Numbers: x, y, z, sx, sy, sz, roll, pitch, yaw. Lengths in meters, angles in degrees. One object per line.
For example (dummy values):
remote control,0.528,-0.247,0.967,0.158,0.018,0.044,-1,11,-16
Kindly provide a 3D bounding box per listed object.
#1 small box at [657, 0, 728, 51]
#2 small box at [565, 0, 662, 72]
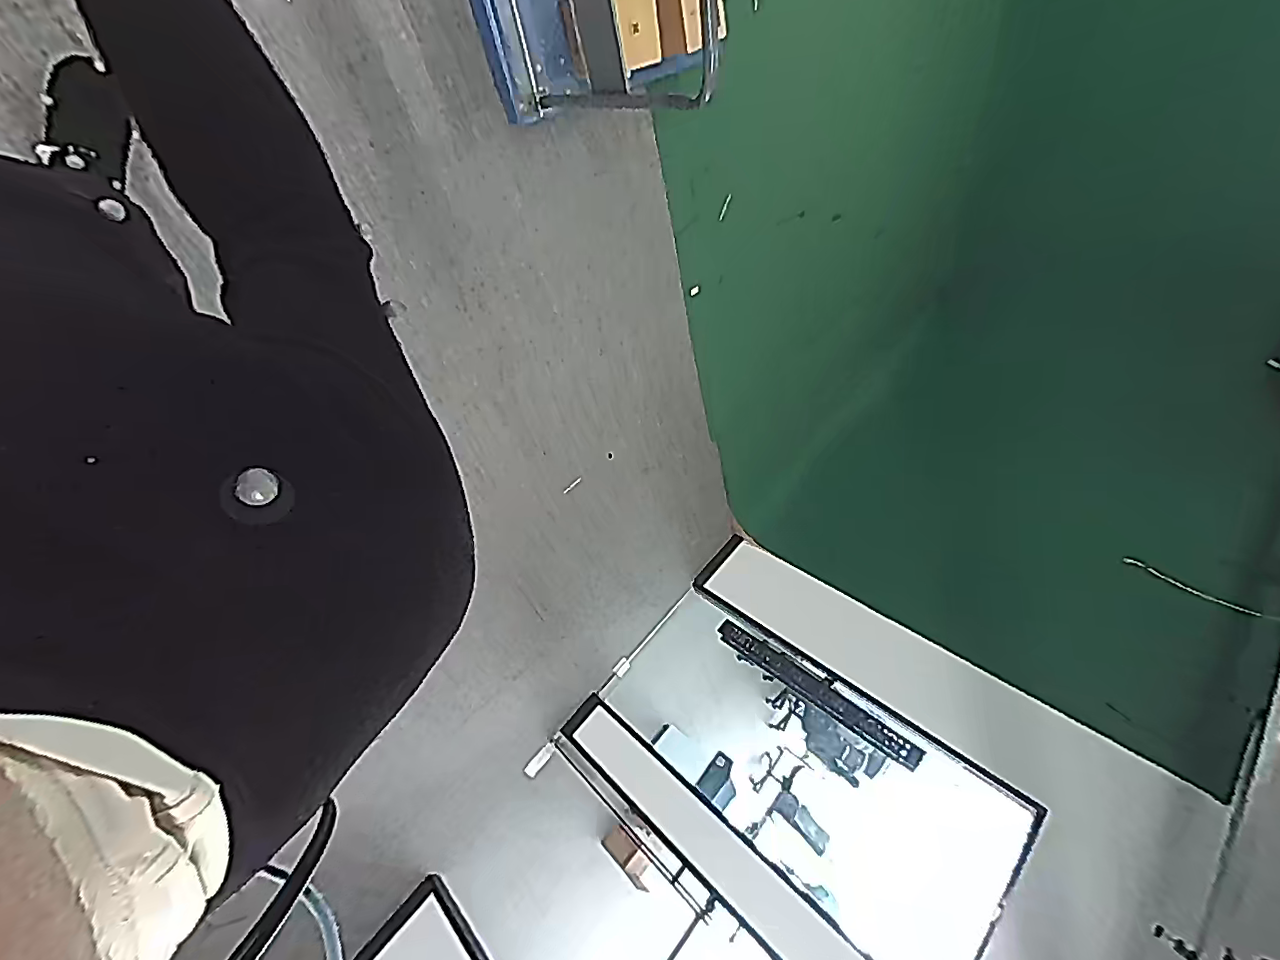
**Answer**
small box,0.123,-1.345,1.532,0.179,0.176,0.168,-41,138,-22
small box,-0.067,-1.191,1.418,0.179,0.176,0.168,-38,138,-26
